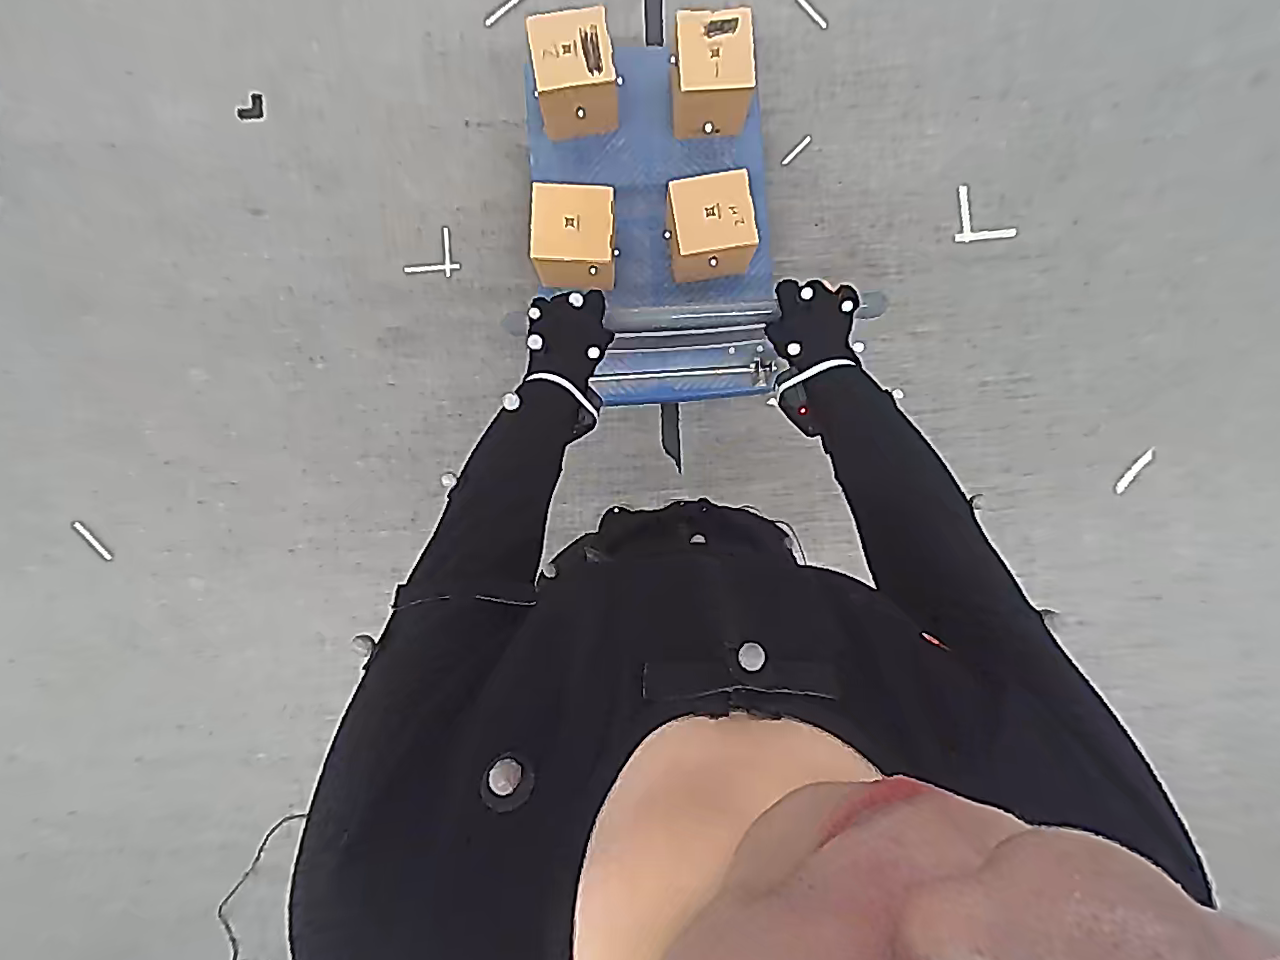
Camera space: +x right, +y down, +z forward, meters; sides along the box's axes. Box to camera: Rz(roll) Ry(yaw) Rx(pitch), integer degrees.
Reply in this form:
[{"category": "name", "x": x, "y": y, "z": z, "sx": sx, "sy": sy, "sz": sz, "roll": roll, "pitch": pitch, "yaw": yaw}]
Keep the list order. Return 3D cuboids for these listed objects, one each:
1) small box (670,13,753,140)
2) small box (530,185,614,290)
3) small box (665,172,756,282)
[{"category": "small box", "x": 0.159, "y": -0.931, "z": 1.258, "sx": 0.168, "sy": 0.176, "sz": 0.179, "roll": -3, "pitch": 90, "yaw": -1}, {"category": "small box", "x": -0.152, "y": -0.552, "z": 1.250, "sx": 0.179, "sy": 0.176, "sz": 0.168, "roll": 2, "pitch": 89, "yaw": -2}, {"category": "small box", "x": 0.155, "y": -0.576, "z": 1.254, "sx": 0.179, "sy": 0.176, "sz": 0.168, "roll": -9, "pitch": 90, "yaw": -1}]
